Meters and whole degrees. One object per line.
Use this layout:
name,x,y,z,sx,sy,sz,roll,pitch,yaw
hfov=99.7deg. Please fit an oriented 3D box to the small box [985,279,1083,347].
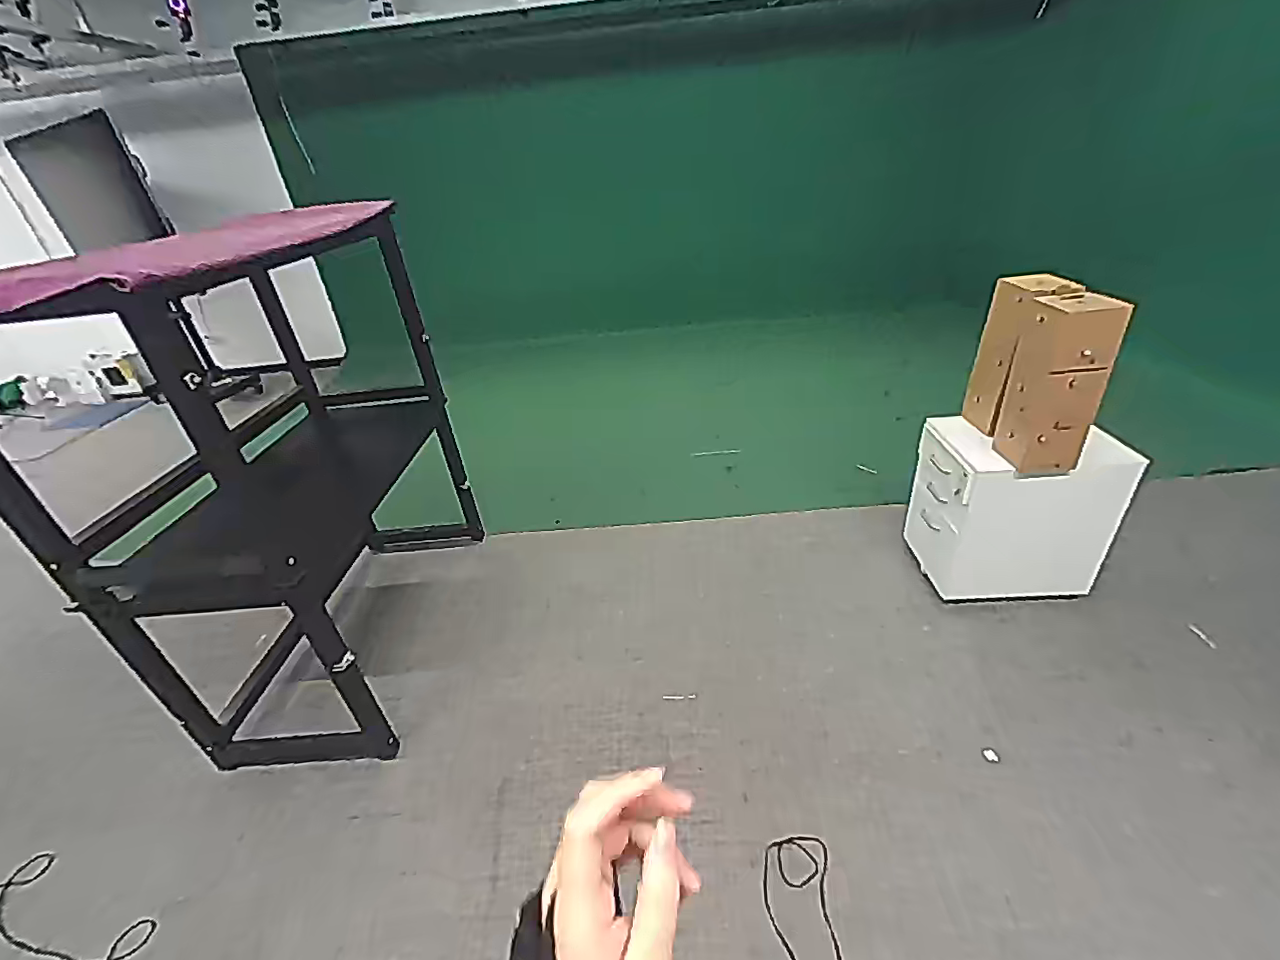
small box,1.257,-0.537,1.741,0.168,0.176,0.179,-6,33,-1

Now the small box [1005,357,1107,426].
small box,1.230,-0.270,1.617,0.179,0.176,0.168,-3,31,4

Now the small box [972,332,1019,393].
small box,1.265,-0.399,1.827,0.168,0.176,0.179,-5,32,-1

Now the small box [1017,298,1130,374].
small box,1.211,-0.408,1.529,0.168,0.176,0.179,-4,31,4
